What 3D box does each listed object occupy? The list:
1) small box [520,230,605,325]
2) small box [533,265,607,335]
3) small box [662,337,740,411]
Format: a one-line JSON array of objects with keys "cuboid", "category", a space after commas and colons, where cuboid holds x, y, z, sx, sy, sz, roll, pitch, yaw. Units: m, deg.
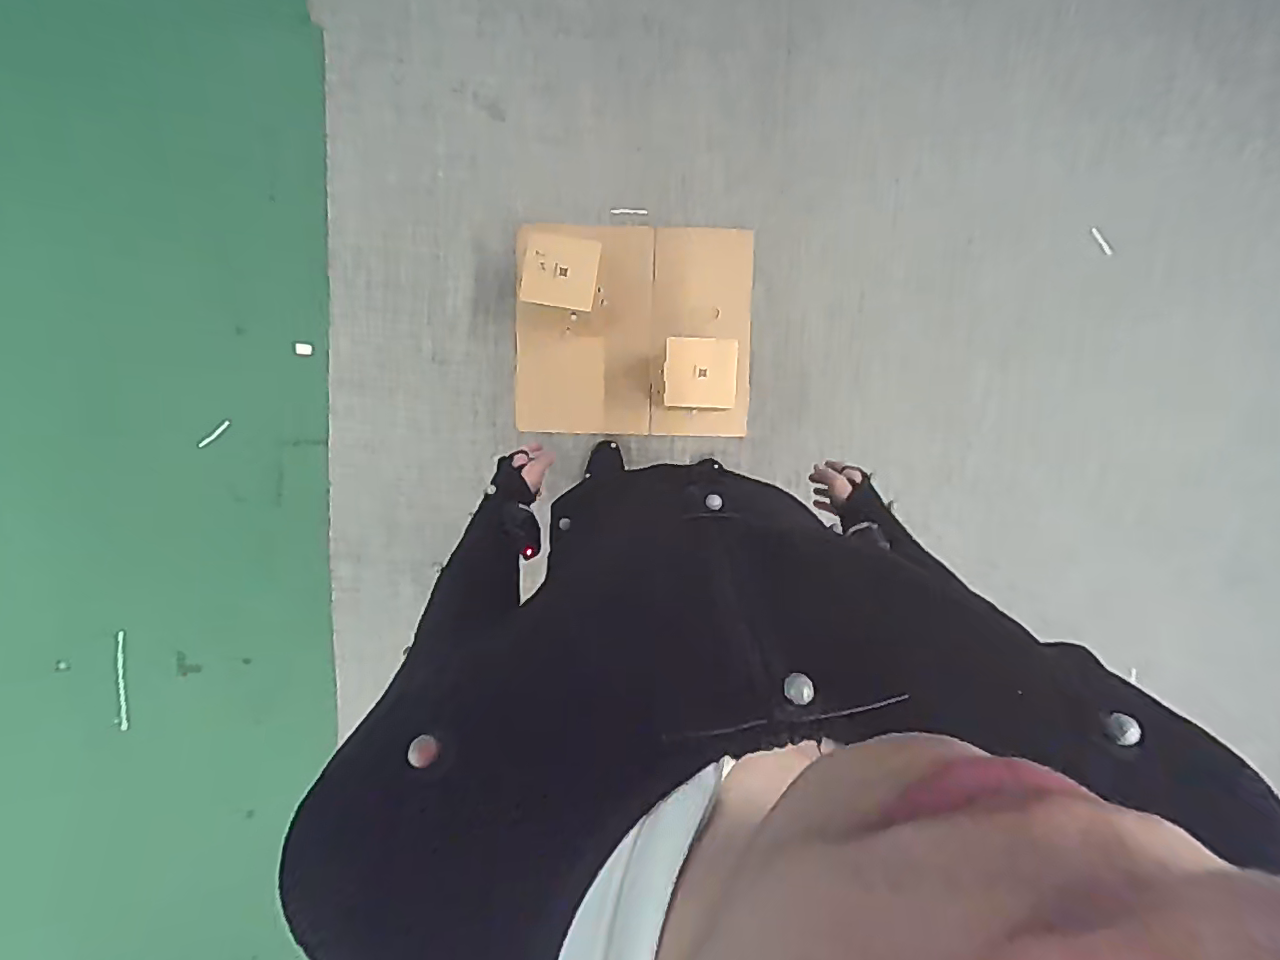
[{"cuboid": [-0.184, -0.489, 1.335, 0.179, 0.176, 0.168, 9, 93, -1], "category": "small box"}, {"cuboid": [-0.189, -0.508, 1.500, 0.179, 0.176, 0.168, 10, 94, -2], "category": "small box"}, {"cuboid": [0.147, -0.262, 1.364, 0.179, 0.176, 0.168, 1, 95, 0], "category": "small box"}]
